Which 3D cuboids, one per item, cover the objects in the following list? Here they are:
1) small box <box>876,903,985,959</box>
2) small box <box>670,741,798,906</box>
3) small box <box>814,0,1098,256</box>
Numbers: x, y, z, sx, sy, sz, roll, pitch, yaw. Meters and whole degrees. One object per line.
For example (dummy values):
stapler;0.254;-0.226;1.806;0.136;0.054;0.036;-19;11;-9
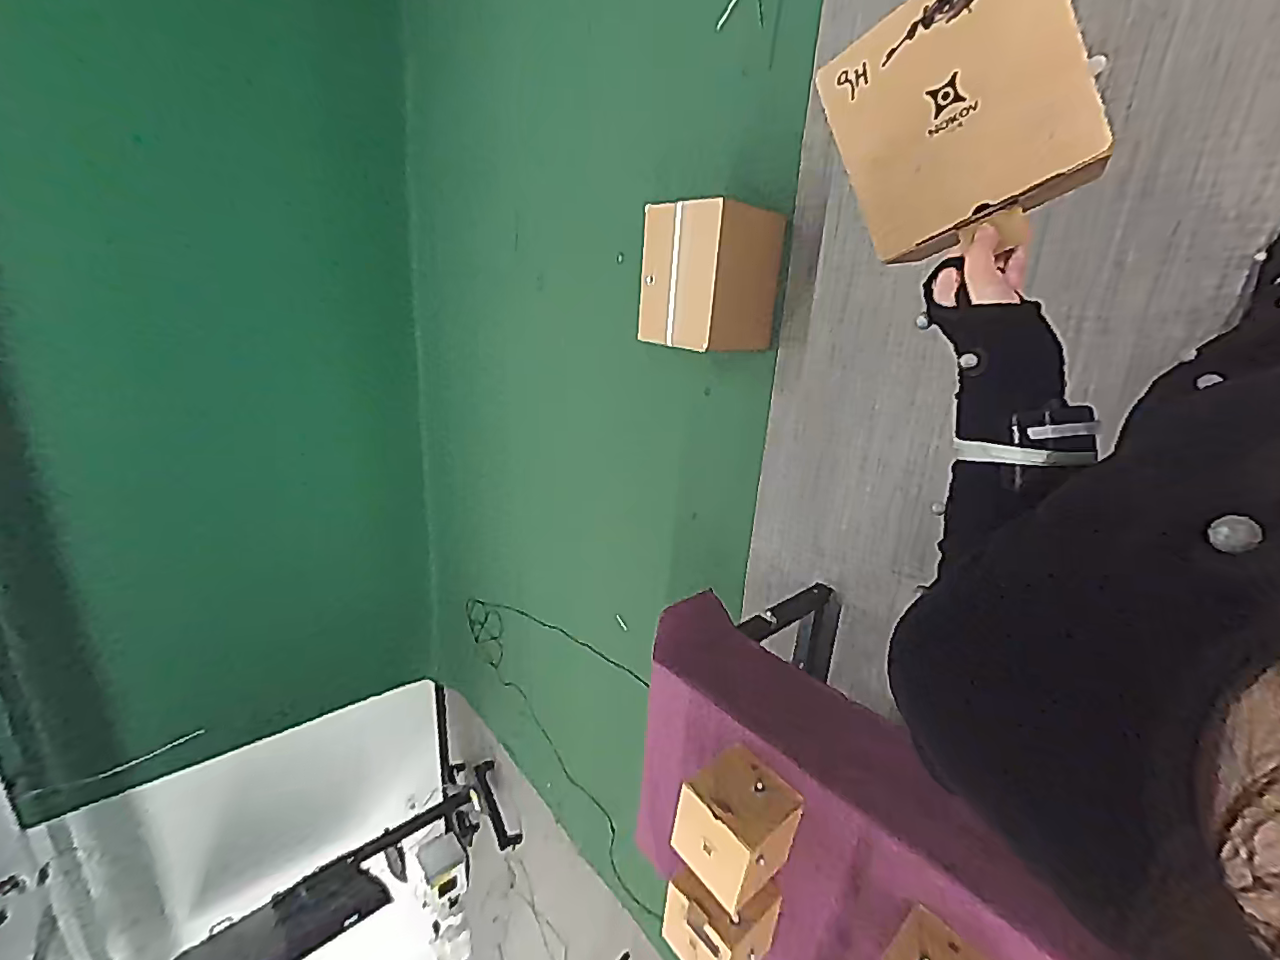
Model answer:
small box;0.430;0.790;0.798;0.168;0.176;0.179;27;119;44
small box;0.184;0.659;1.055;0.168;0.176;0.179;28;119;42
small box;0.288;-0.327;0.489;0.168;0.176;0.179;-17;99;41
